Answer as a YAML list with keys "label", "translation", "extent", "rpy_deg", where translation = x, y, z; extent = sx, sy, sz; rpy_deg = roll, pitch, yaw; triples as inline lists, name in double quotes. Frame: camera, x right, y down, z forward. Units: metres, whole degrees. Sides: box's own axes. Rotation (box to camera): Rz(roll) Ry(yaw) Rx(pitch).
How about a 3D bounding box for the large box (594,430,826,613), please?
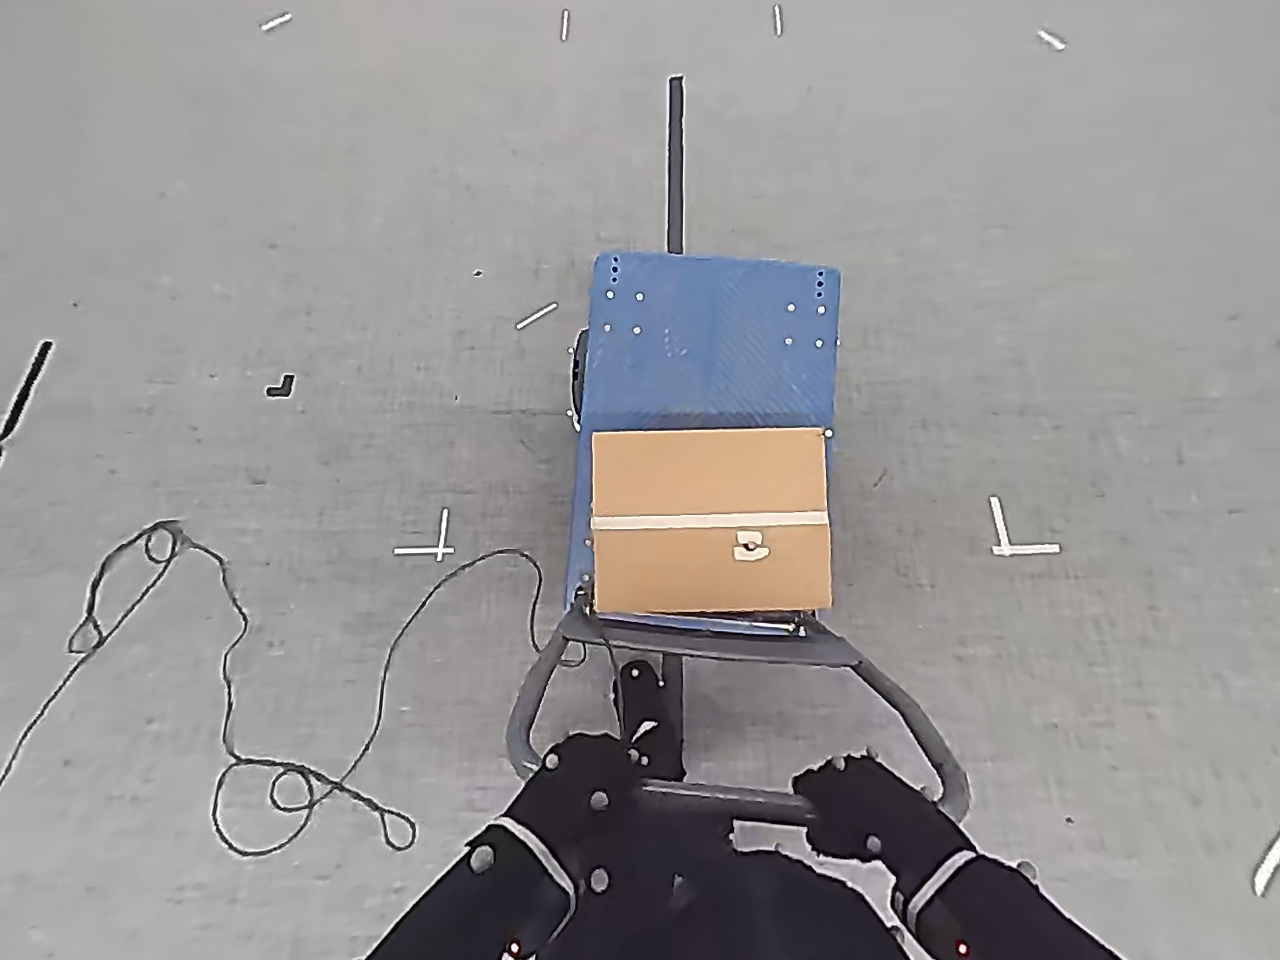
- label: "large box"
  translation: [0.121, 0.082, 1.099]
  extent: [0.408, 0.320, 0.320]
  rpy_deg: [-2, 87, 0]
